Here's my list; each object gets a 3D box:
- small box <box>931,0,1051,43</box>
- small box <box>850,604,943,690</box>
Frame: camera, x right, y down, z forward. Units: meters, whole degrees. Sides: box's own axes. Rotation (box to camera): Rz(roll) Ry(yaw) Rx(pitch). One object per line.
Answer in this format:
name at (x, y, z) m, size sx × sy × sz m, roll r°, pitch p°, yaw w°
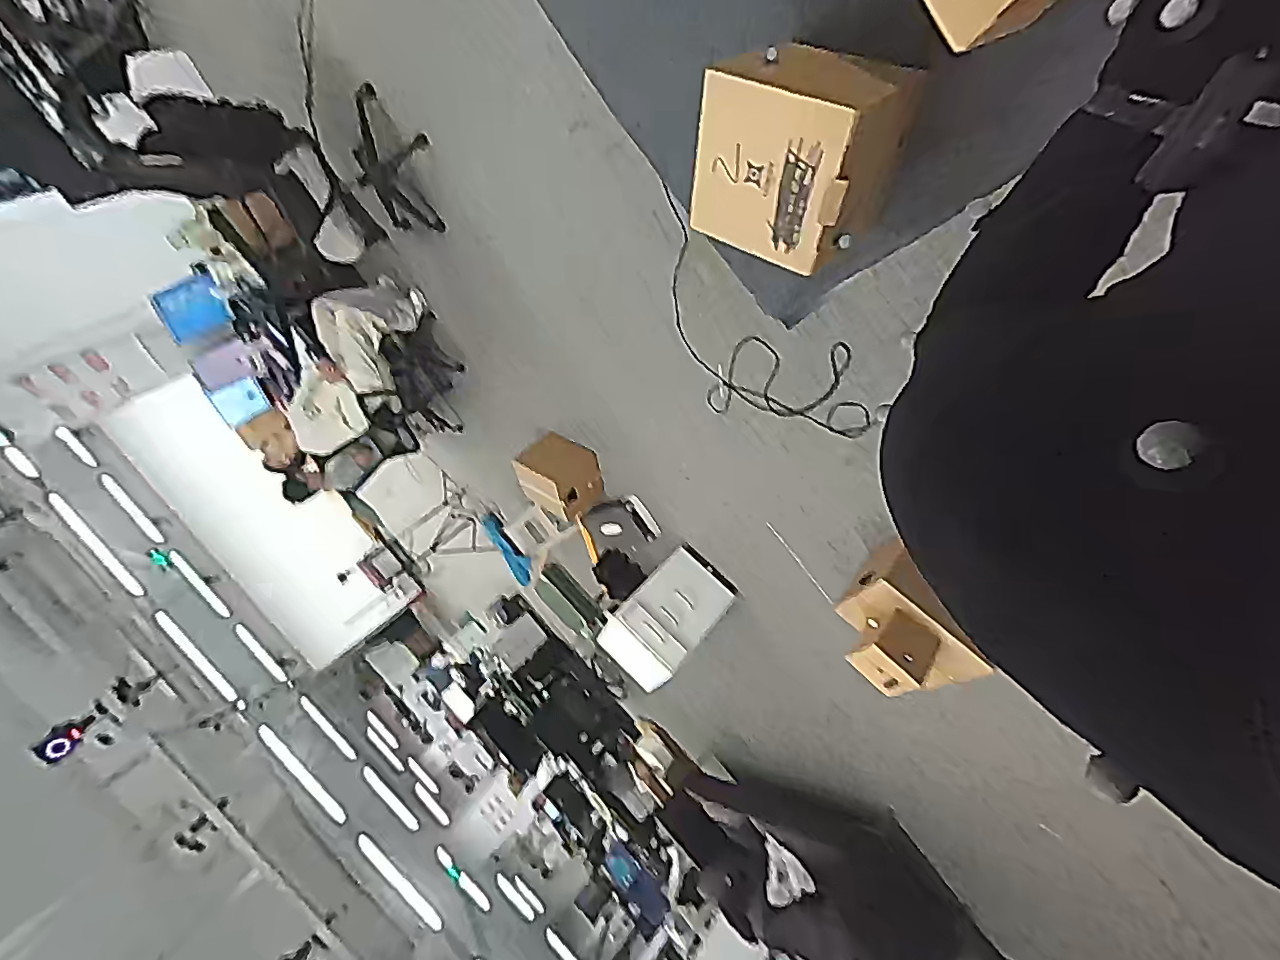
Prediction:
small box at (0.292, -0.468, 0.383) m, size 0.179 × 0.176 × 0.168 m, roll 53°, pitch 151°, yaw -7°
small box at (0.810, 0.525, 1.705) m, size 0.179 × 0.176 × 0.168 m, roll 43°, pitch 148°, yaw 11°
